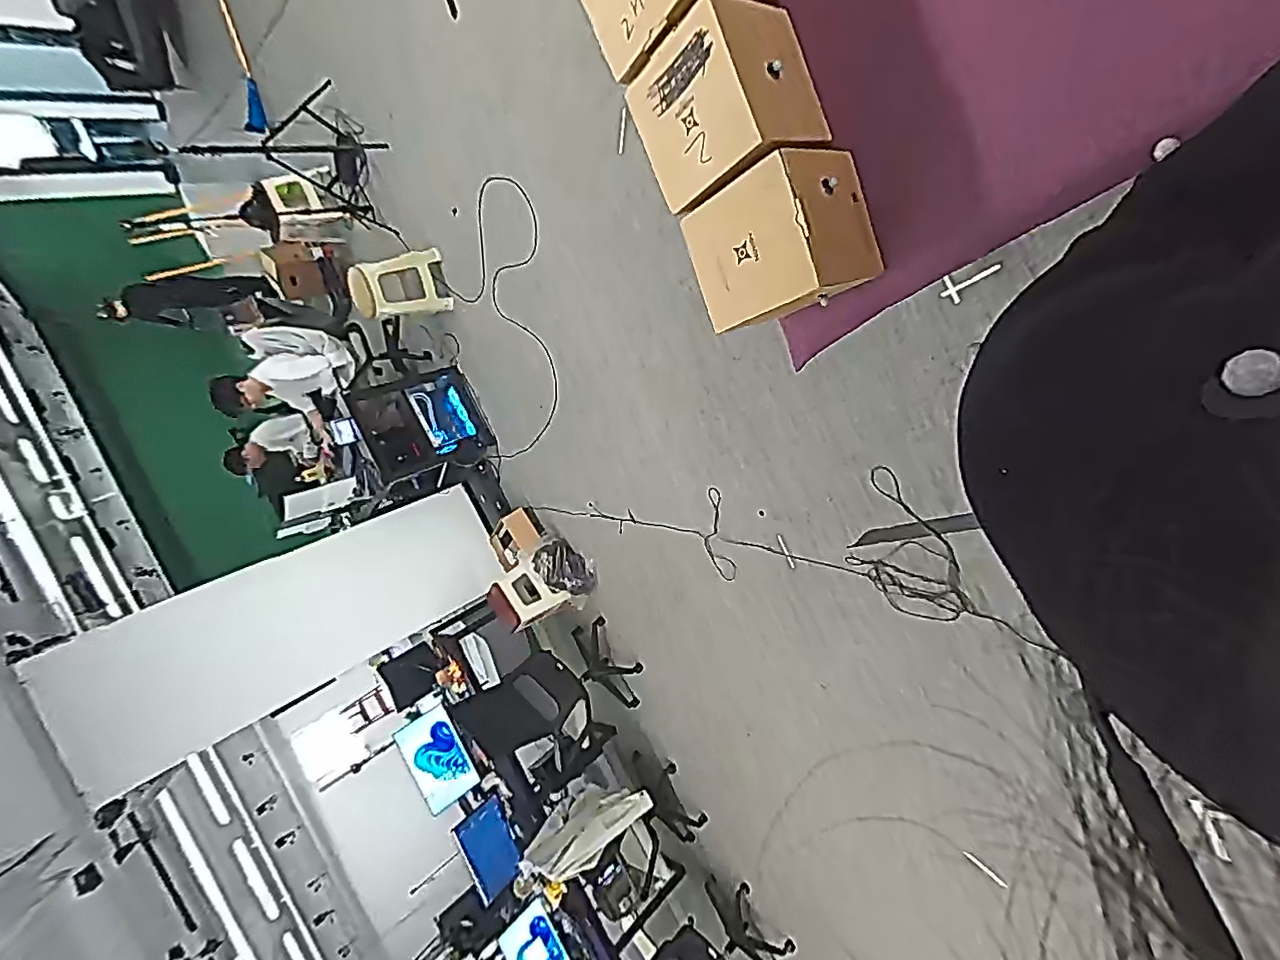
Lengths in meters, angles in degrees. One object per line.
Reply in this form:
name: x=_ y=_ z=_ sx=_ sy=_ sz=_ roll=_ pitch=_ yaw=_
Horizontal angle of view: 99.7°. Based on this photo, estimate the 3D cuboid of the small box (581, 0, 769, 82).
small box: x=0.037 y=-0.658 z=0.702 sx=0.168 sy=0.176 sz=0.179 roll=-16 pitch=100 yaw=53
